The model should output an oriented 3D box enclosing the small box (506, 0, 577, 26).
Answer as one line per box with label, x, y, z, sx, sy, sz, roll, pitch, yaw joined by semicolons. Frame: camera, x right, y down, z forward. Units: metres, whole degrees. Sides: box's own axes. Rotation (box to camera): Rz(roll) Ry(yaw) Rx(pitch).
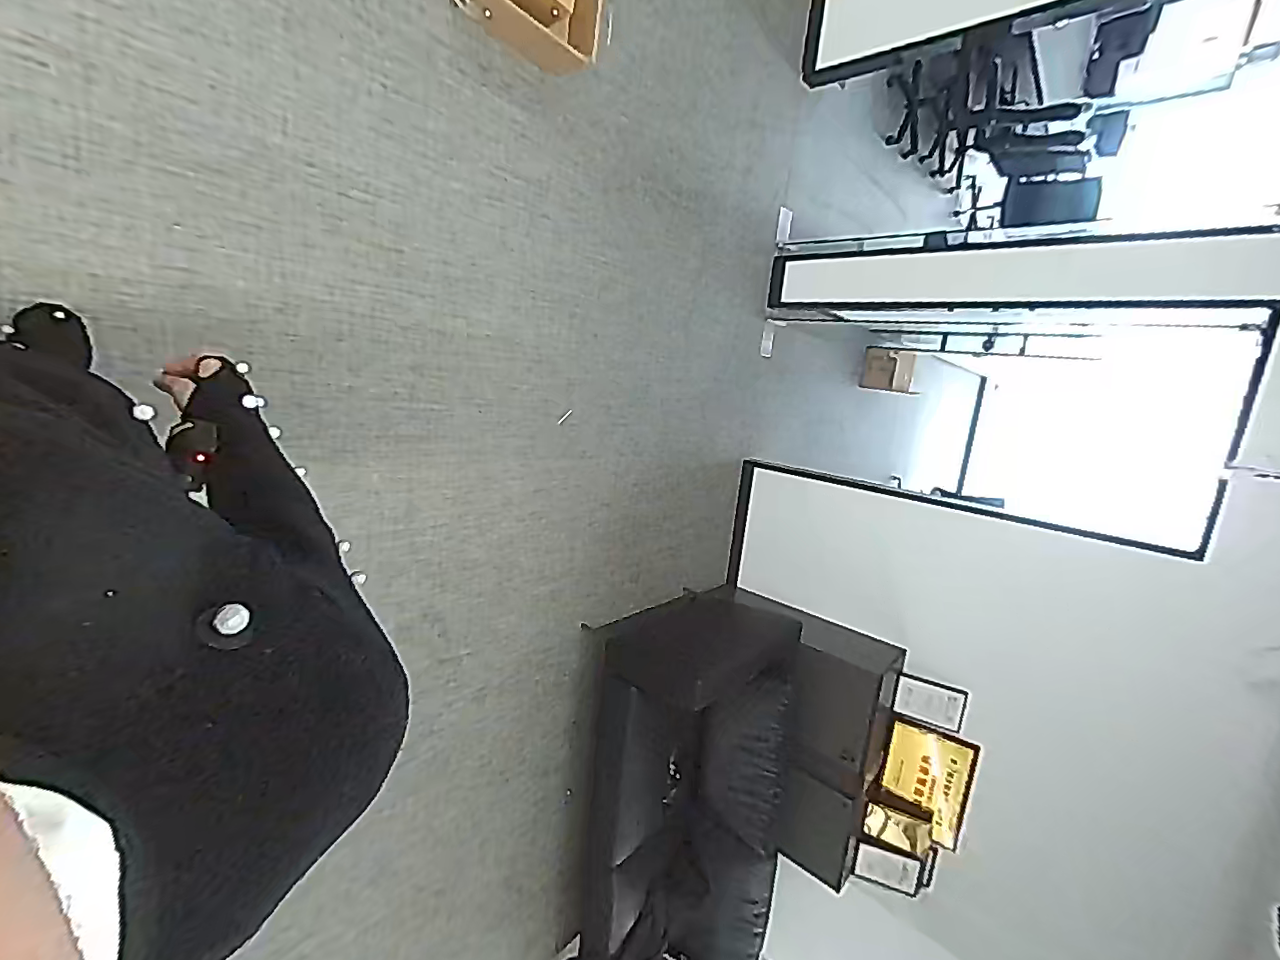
small box;-0.295;-1.479;1.575;0.179;0.176;0.168;1;101;-50
